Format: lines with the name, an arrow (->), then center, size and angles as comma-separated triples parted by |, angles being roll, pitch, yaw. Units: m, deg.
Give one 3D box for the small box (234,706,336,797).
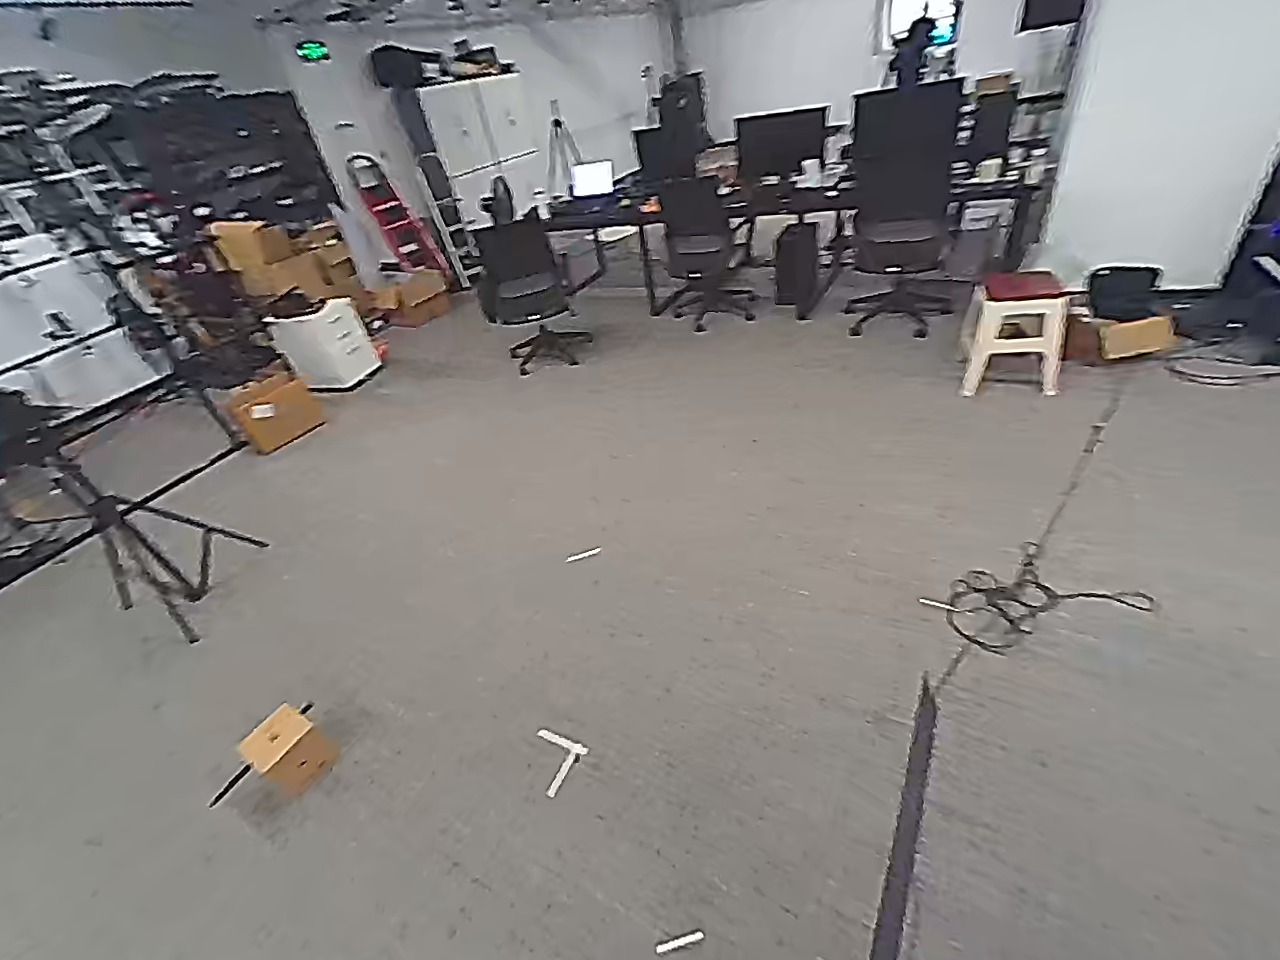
small box -> -1.090, 0.846, 1.674 | 0.179, 0.176, 0.168 | 12, 42, 31
